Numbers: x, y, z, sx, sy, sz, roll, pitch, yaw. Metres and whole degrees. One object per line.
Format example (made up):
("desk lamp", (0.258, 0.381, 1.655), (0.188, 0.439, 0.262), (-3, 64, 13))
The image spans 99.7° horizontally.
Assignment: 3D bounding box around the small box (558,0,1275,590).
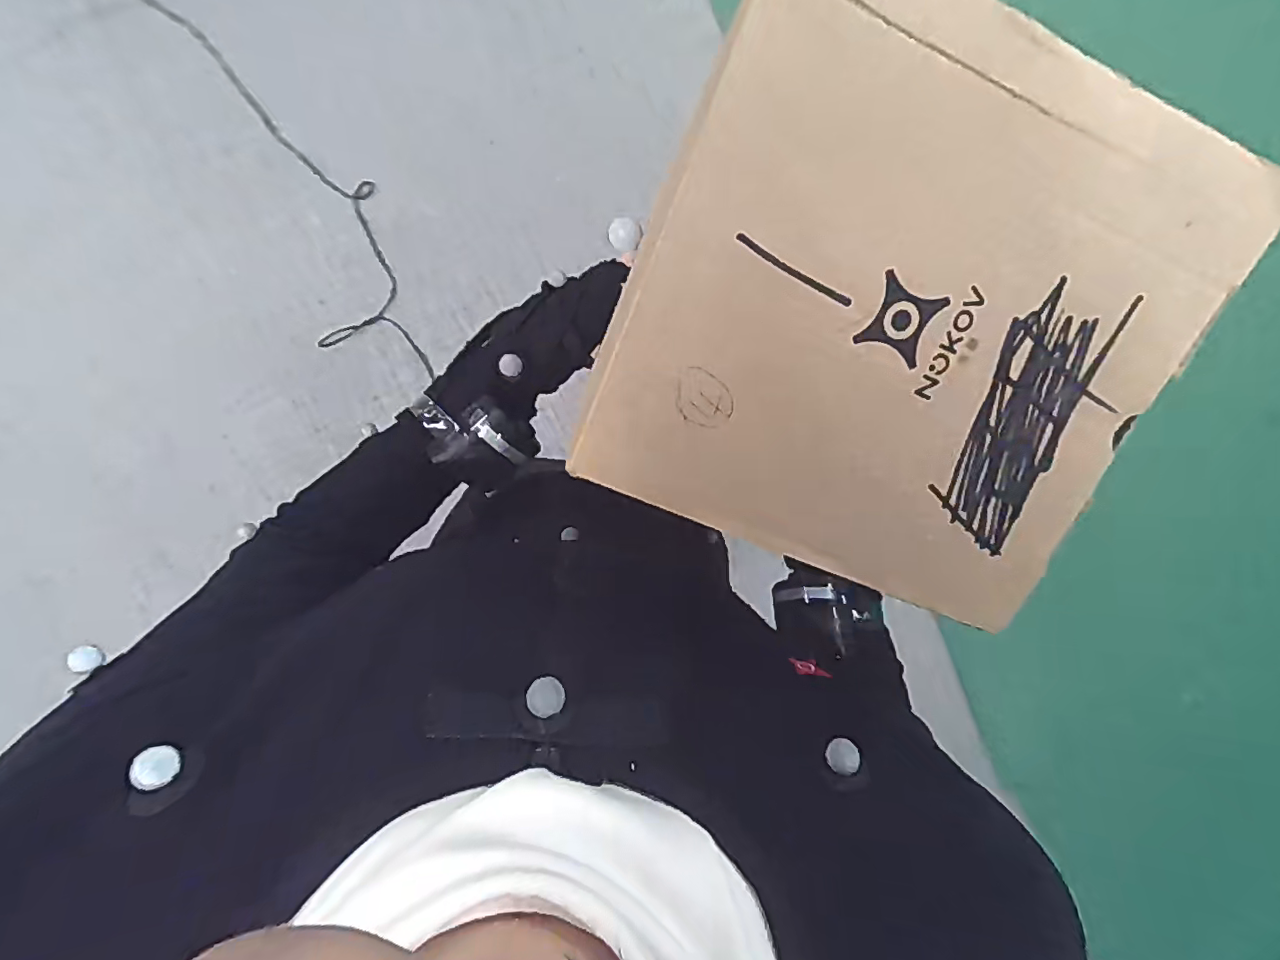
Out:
("small box", (0.078, -0.082, 0.245), (0.179, 0.176, 0.168), (21, 104, -9))
